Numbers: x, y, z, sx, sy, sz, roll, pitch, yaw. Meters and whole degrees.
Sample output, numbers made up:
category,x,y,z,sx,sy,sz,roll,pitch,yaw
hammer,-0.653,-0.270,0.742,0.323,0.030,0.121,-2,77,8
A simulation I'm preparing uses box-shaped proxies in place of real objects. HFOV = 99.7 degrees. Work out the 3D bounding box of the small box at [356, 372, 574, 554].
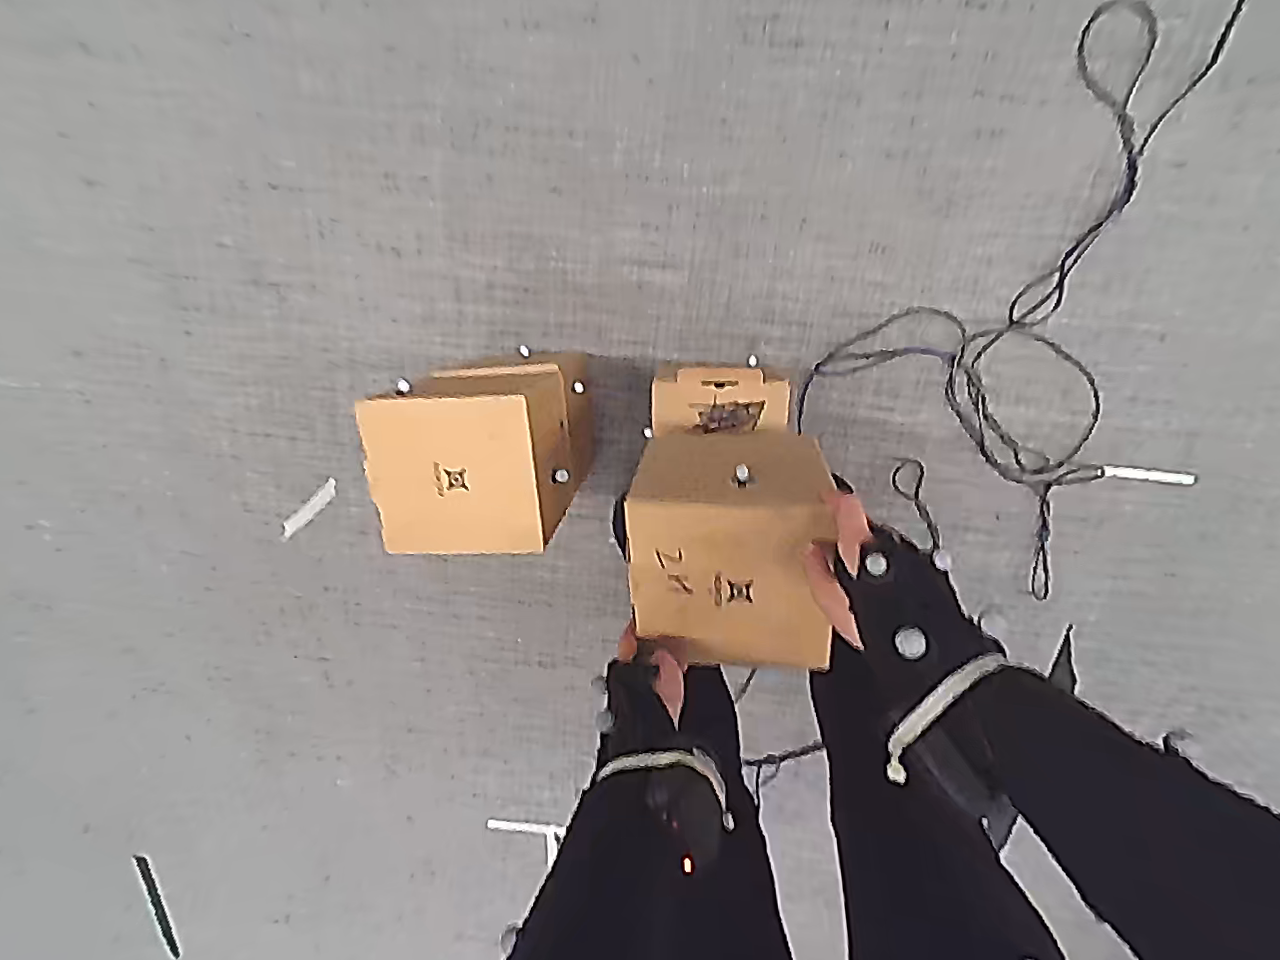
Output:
category,x,y,z,sx,sy,sz,roll,pitch,yaw
small box,-0.176,-0.027,0.611,0.179,0.176,0.168,-2,108,7

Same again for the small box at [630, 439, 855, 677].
category,x,y,z,sx,sy,sz,roll,pitch,yaw
small box,0.092,0.063,0.522,0.179,0.176,0.168,1,113,10

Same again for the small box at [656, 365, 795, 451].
category,x,y,z,sx,sy,sz,roll,pitch,yaw
small box,0.108,-0.062,0.742,0.168,0.176,0.179,2,110,6
